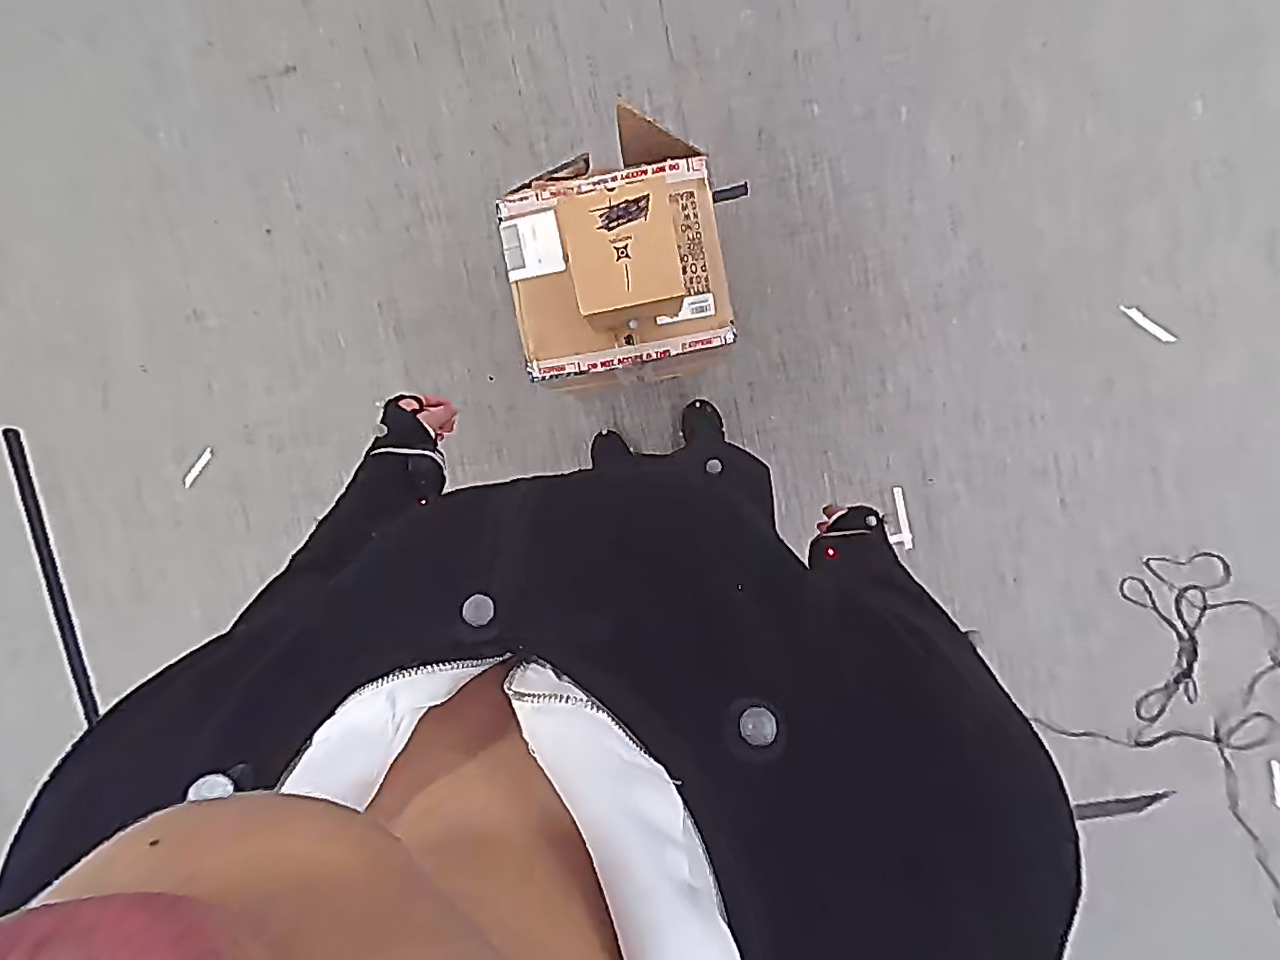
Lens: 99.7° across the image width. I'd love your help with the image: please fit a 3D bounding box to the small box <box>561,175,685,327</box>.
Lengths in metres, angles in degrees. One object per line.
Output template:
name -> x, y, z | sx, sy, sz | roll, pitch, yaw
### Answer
small box -> -0.024, -0.364, 0.890 | 0.168, 0.176, 0.179 | -11, 98, 3
